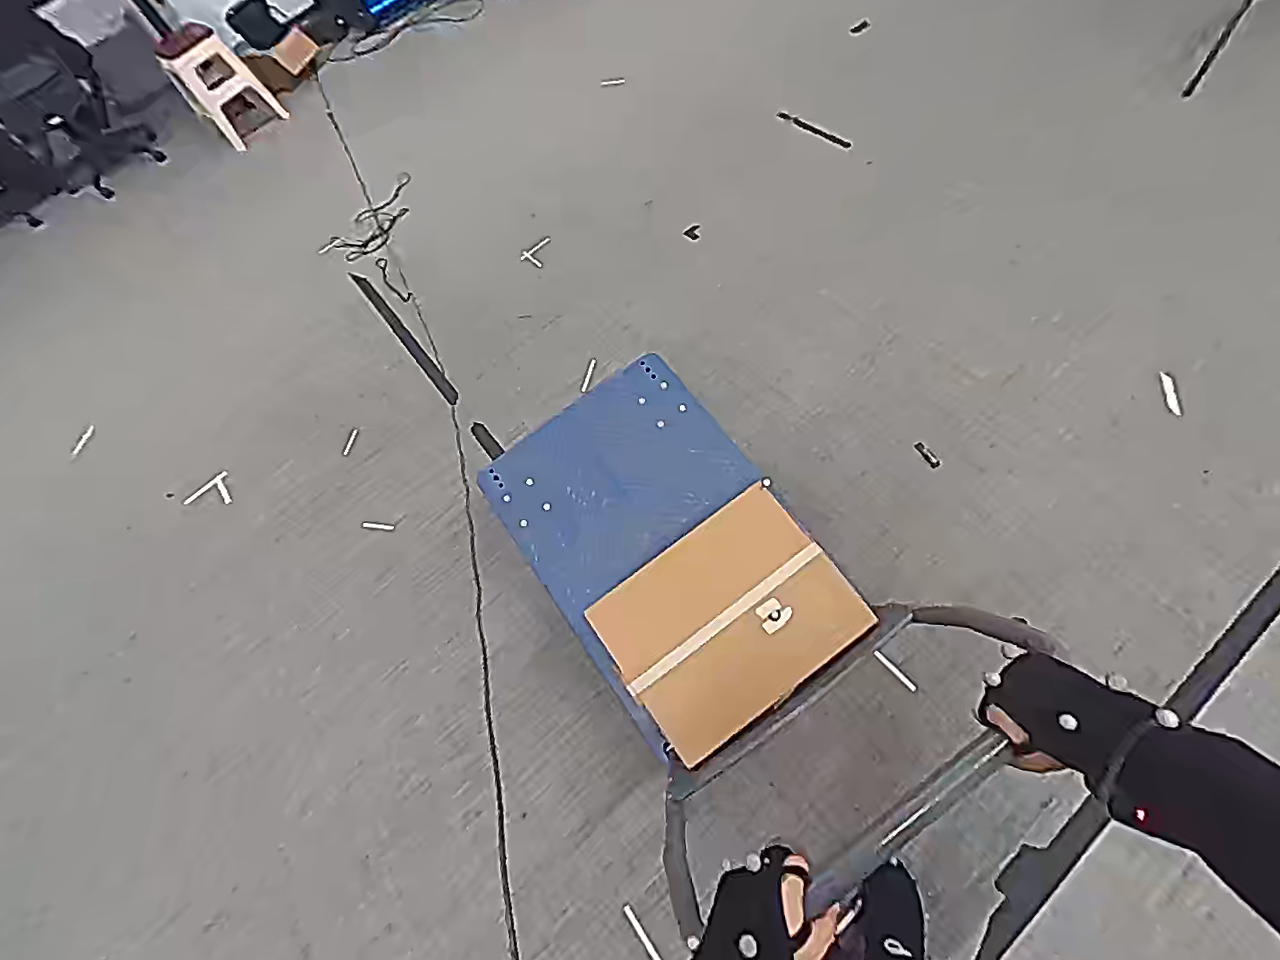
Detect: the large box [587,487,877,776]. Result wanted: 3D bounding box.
[{"bbox_3d":[0.164,0.286,1.060,0.408,0.320,0.320,-36,74,-5],"label":"large box"}]
